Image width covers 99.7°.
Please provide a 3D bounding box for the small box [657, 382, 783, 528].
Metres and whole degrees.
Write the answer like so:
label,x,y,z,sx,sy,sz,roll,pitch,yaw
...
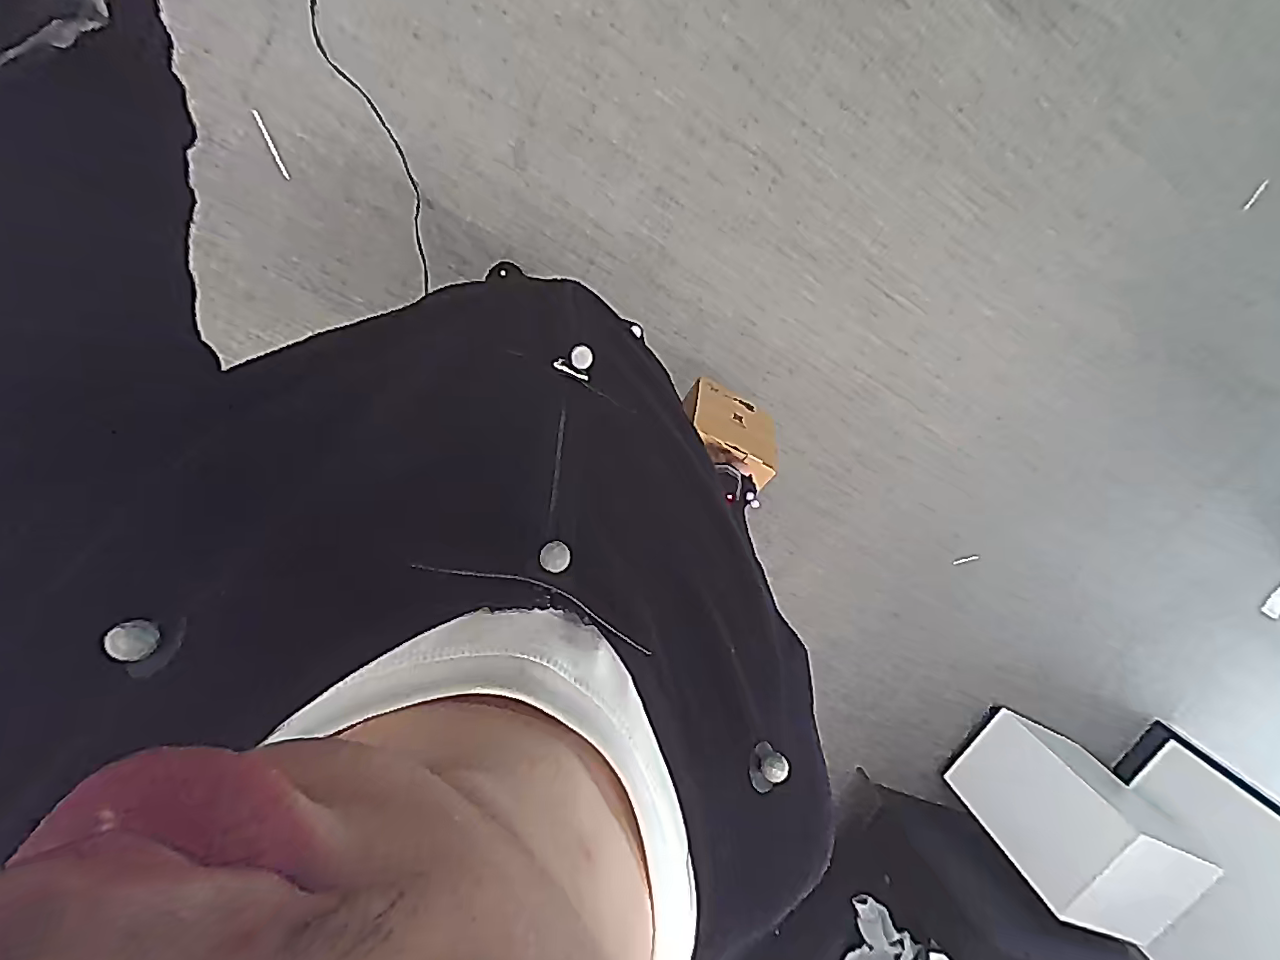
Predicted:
label,x,y,z,sx,sy,sz,roll,pitch,yaw
small box,0.143,-0.041,0.996,0.168,0.179,0.176,24,130,-11
